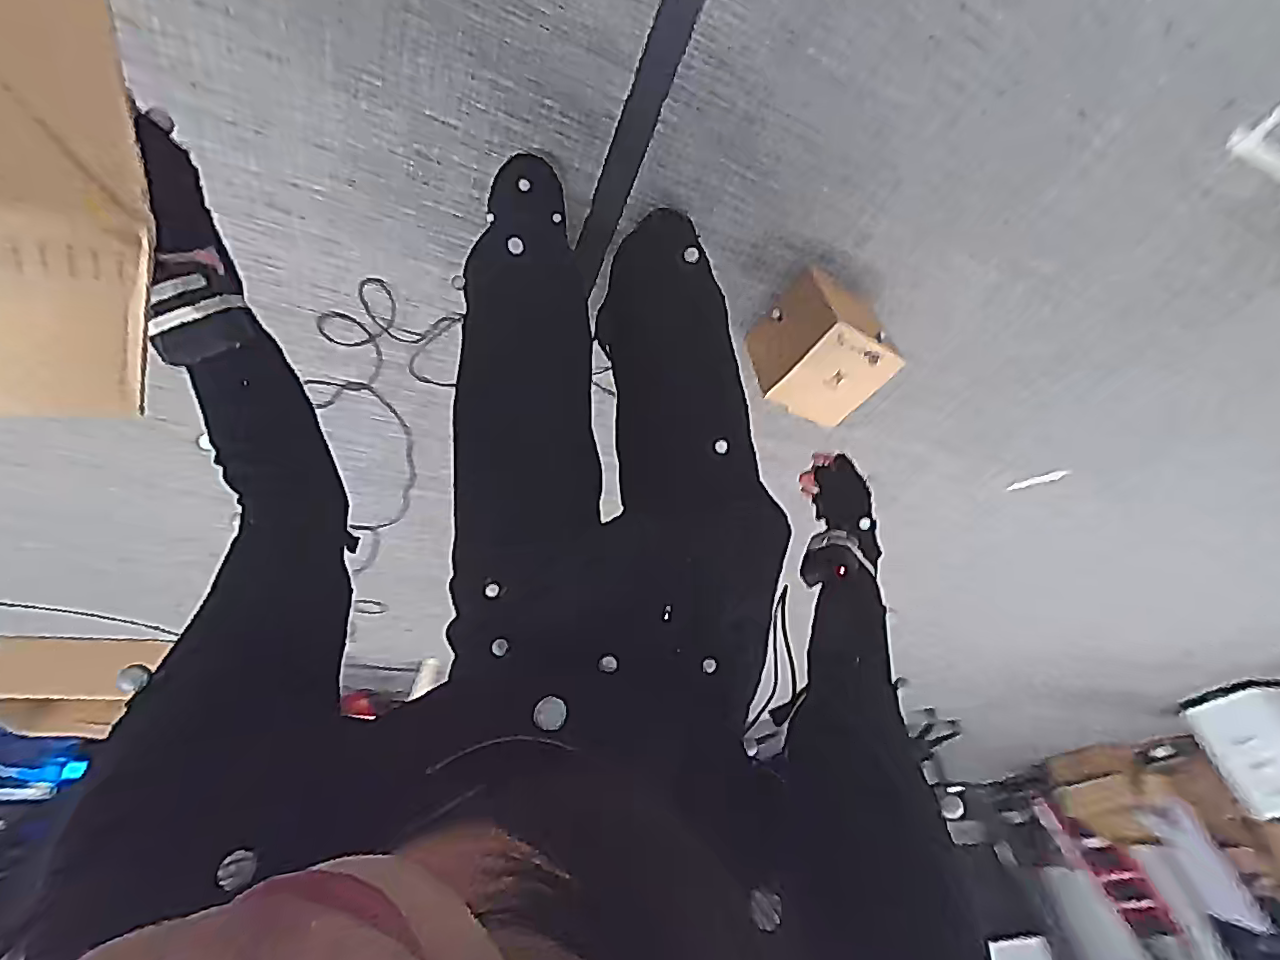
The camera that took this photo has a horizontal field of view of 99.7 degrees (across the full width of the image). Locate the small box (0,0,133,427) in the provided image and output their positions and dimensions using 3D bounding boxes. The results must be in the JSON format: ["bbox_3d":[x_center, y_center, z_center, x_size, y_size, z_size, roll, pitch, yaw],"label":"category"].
[{"bbox_3d":[-0.302,-0.128,0.190,0.168,0.179,0.176,-8,168,-45],"label":"small box"}]

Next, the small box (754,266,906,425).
[{"bbox_3d":[0.318,-0.233,0.946,0.168,0.176,0.179,19,135,-26],"label":"small box"}]
